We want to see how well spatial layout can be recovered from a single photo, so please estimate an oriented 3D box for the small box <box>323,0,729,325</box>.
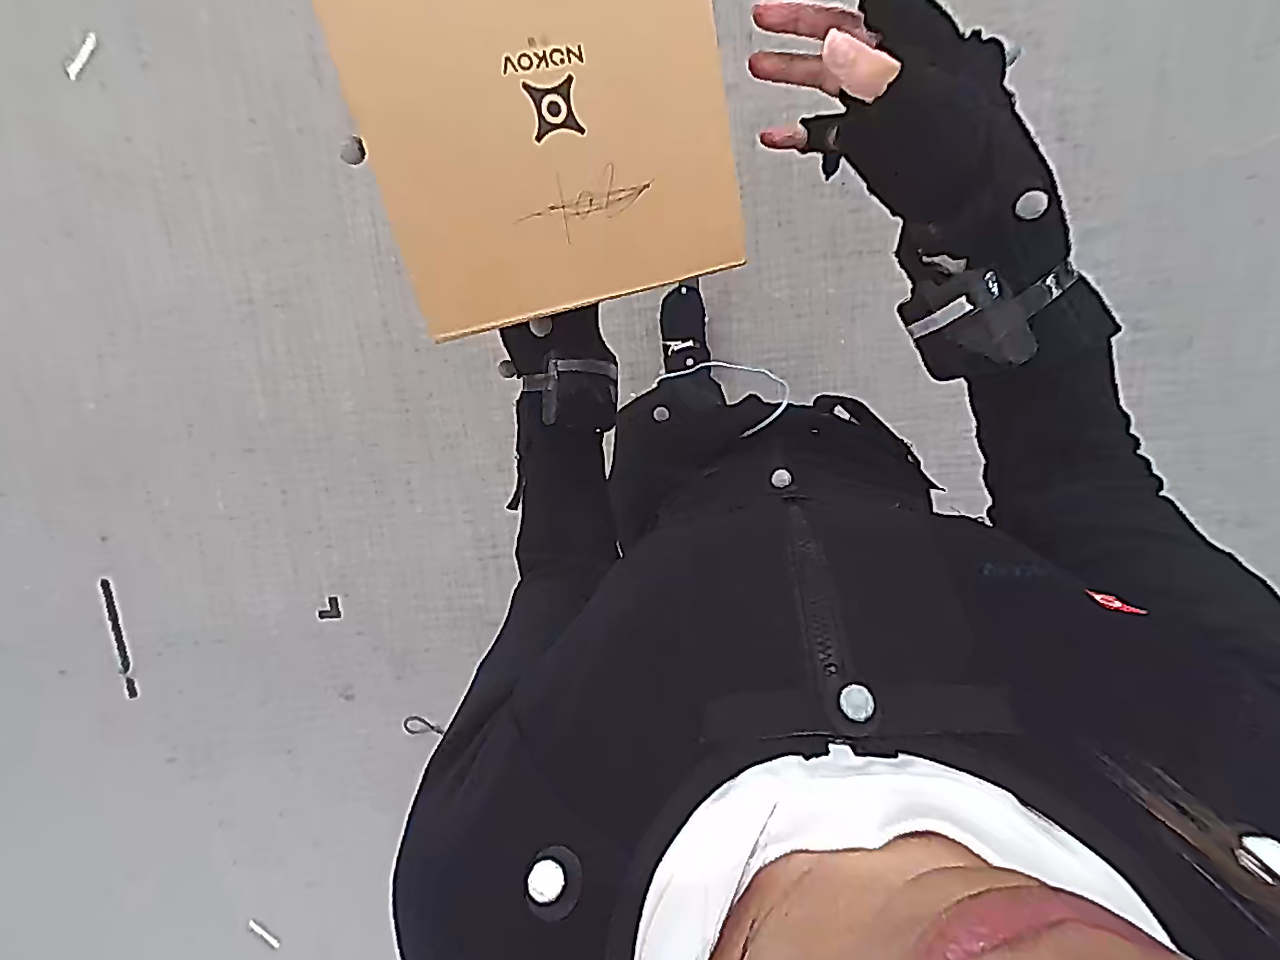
[{"bbox_3d":[-0.067,-0.198,0.325,0.168,0.176,0.179,-18,111,-11],"label":"small box"}]
